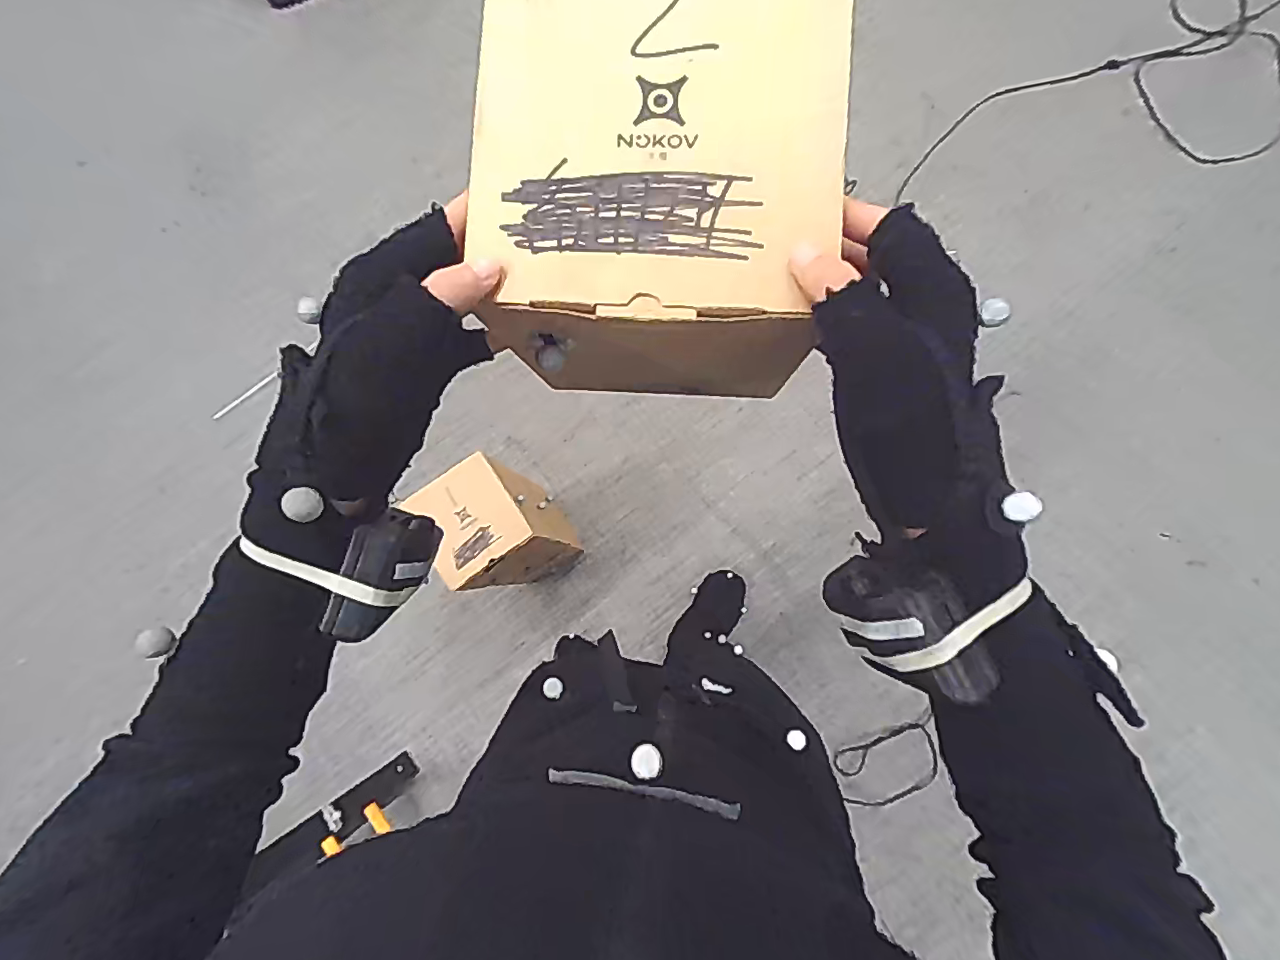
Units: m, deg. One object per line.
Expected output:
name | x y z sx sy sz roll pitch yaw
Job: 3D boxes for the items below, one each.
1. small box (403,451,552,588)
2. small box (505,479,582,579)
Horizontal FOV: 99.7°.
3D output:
small box | -0.281 0.074 0.976 0.168 0.176 0.179 -35 80 -3
small box | -0.259 0.124 1.298 0.168 0.176 0.179 -33 81 -1
